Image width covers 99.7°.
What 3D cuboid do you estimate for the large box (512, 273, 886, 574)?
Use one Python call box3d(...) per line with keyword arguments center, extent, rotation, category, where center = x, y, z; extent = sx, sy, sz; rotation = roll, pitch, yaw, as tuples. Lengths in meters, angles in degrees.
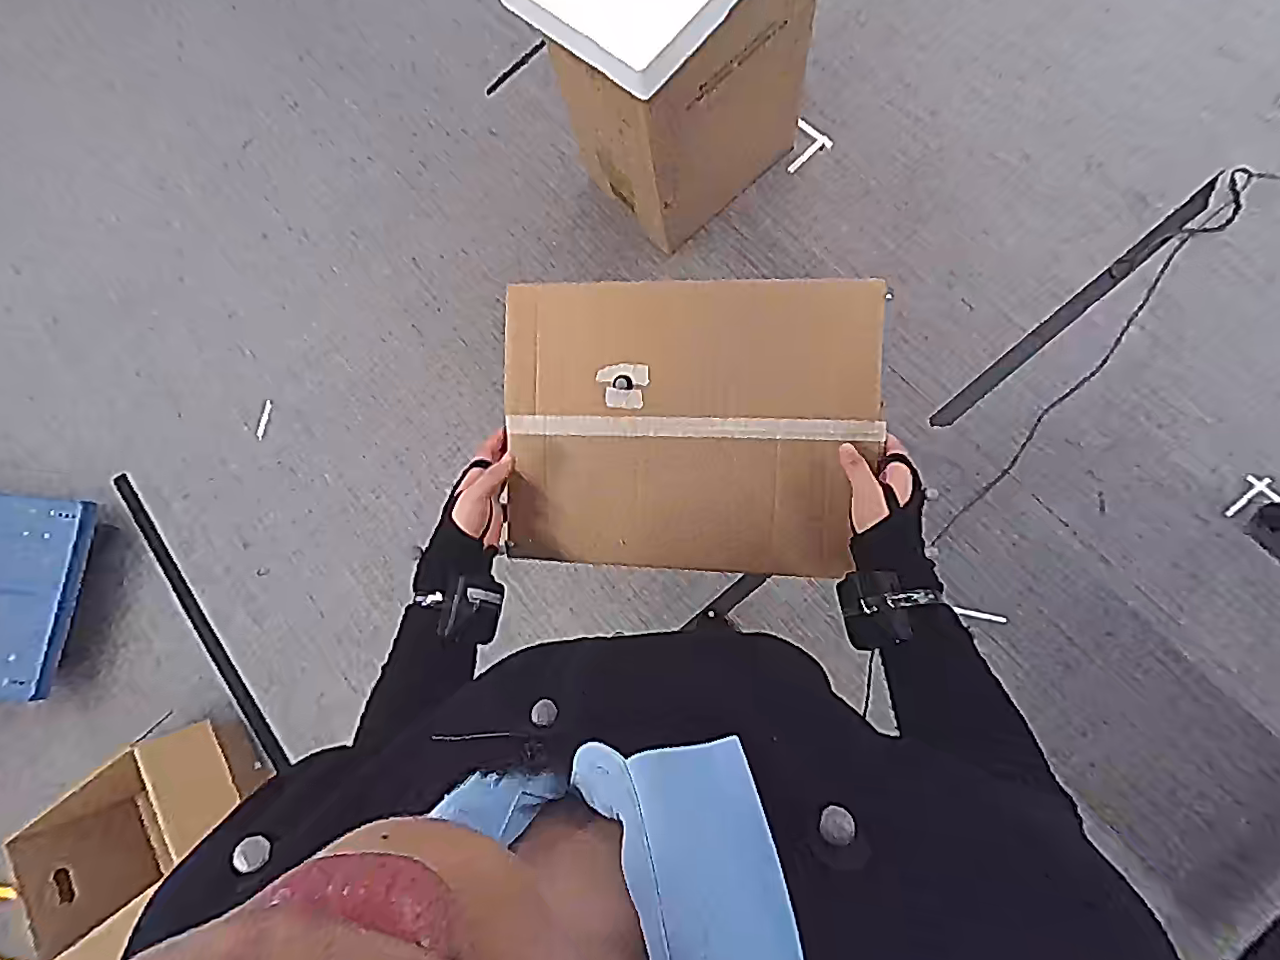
box3d(center=(0.077, -0.071, 0.729), extent=(0.408, 0.320, 0.320), rotation=(2, 94, 9), category="large box")
